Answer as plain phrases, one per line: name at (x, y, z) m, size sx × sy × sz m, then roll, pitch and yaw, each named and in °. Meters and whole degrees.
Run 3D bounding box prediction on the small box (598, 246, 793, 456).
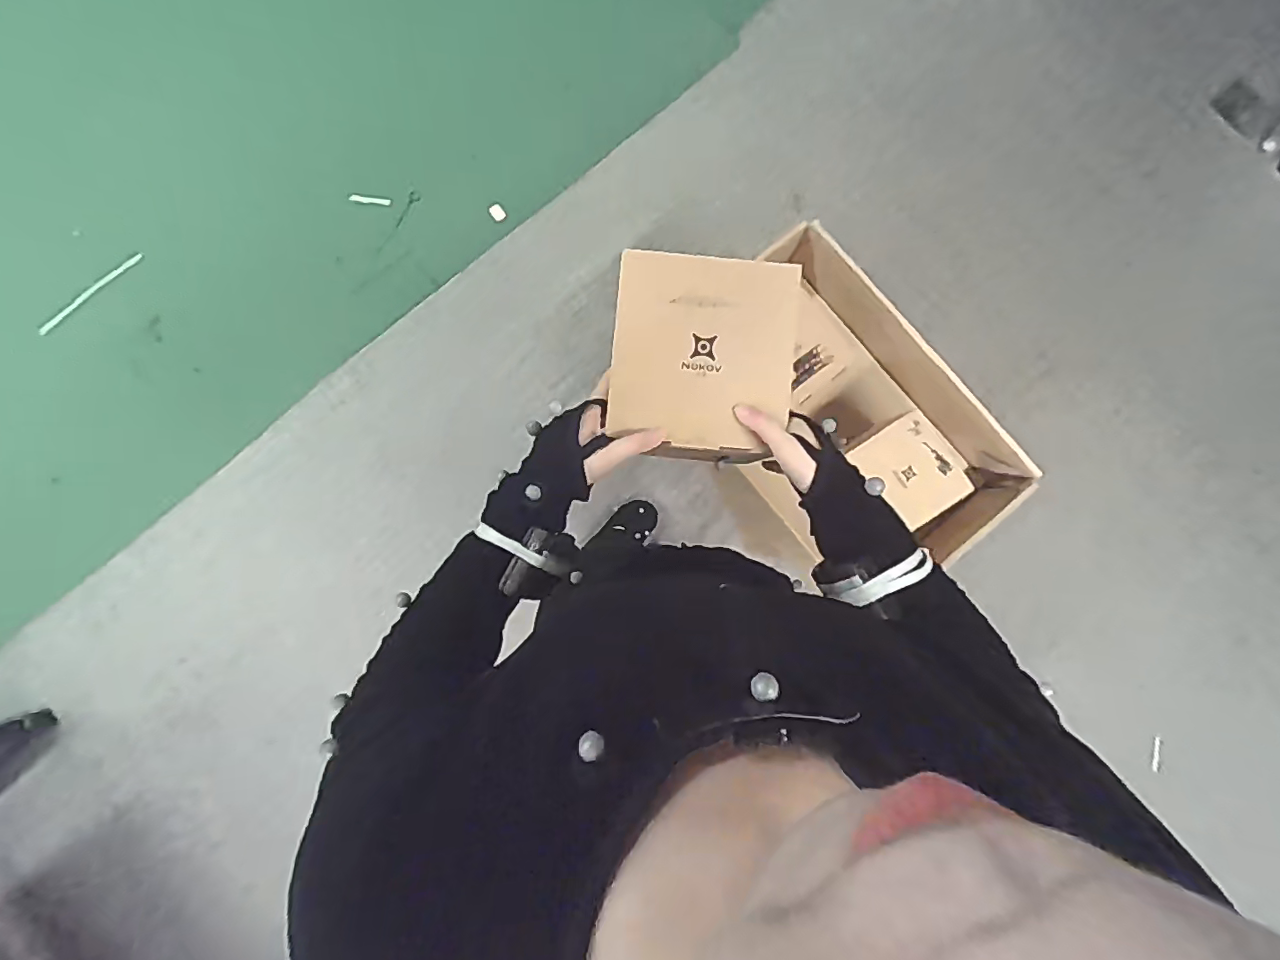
small box at (0.052, -0.119, 0.569) m, size 0.168 × 0.176 × 0.179 m, roll 5°, pitch 89°, yaw 0°
